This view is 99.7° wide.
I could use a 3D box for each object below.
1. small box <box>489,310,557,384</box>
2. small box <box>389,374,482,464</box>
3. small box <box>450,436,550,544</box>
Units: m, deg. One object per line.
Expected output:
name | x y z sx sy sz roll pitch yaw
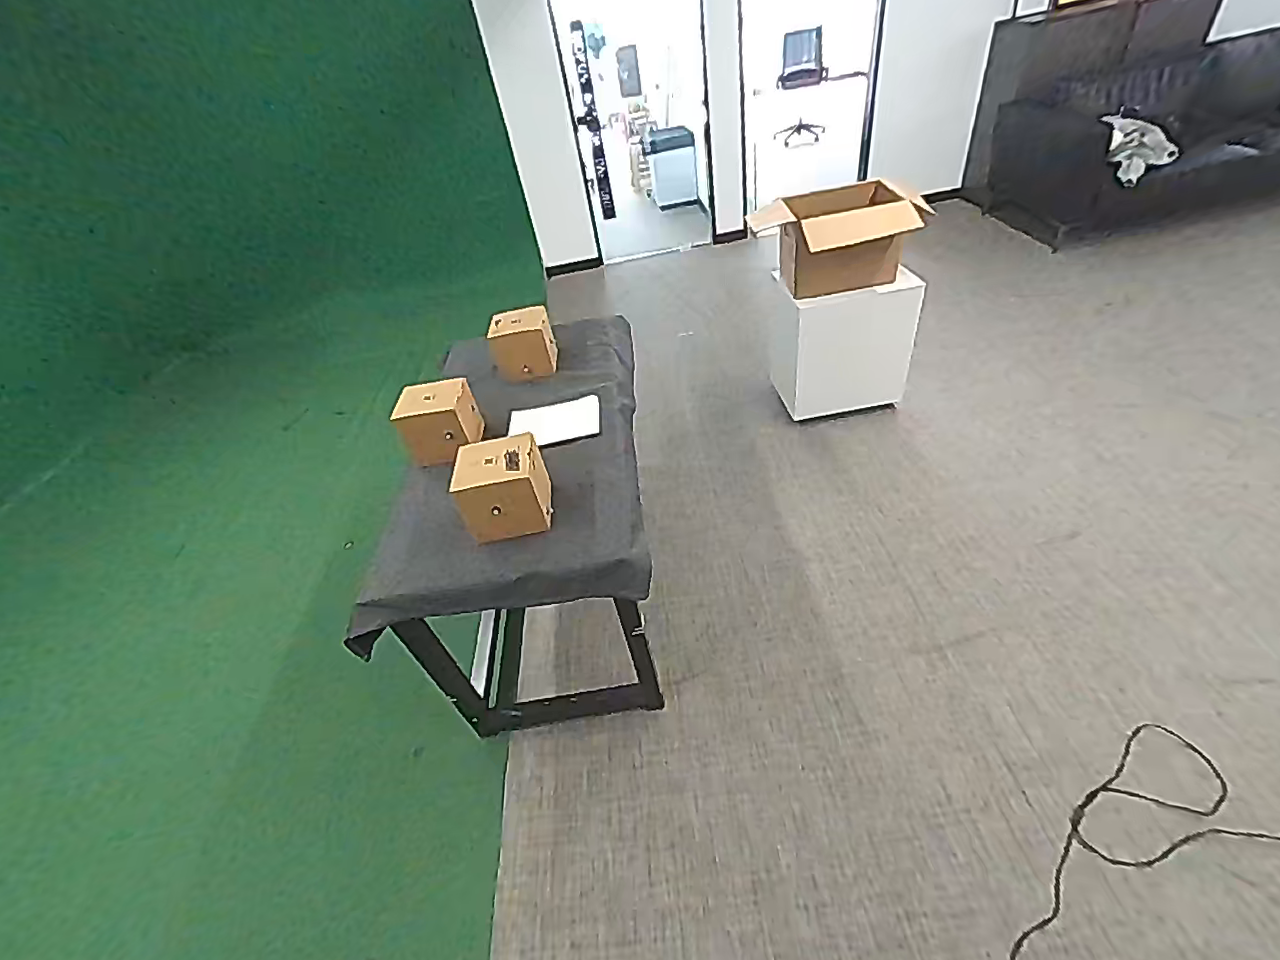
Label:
small box | -0.376 -0.436 1.778 0.179 0.176 0.168 -8 41 2
small box | -0.552 -0.165 1.491 0.179 0.176 0.168 -10 40 2
small box | -0.311 0.024 1.245 0.179 0.176 0.168 -11 40 1
